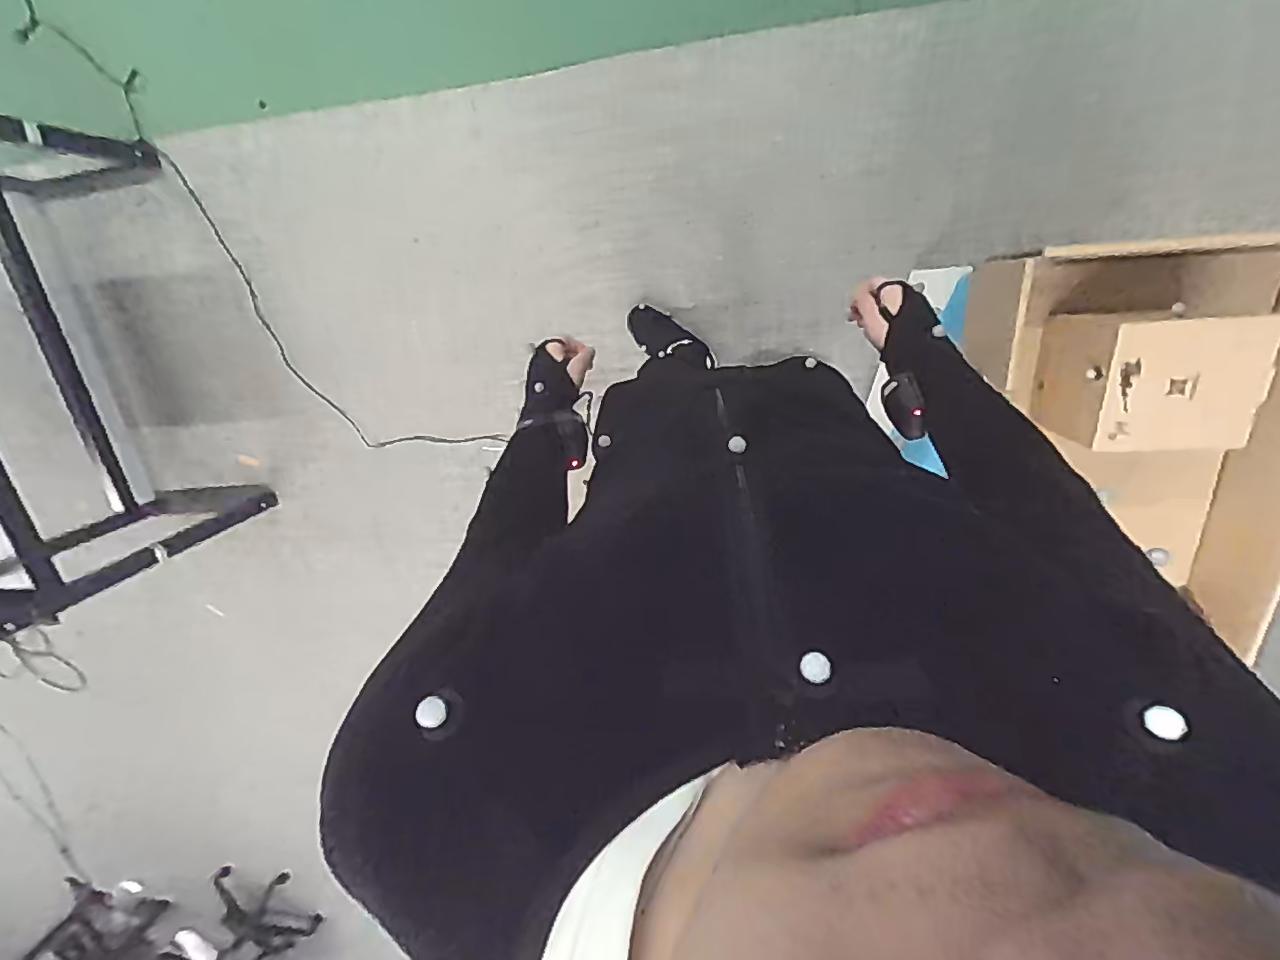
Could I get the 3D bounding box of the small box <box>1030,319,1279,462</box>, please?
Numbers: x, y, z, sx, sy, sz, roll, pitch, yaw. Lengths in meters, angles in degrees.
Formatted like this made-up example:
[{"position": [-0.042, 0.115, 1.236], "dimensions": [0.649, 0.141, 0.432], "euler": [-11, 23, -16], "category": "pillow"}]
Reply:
[{"position": [0.684, -0.128, 0.740], "dimensions": [0.179, 0.176, 0.168], "euler": [-1, 109, 9], "category": "small box"}]
